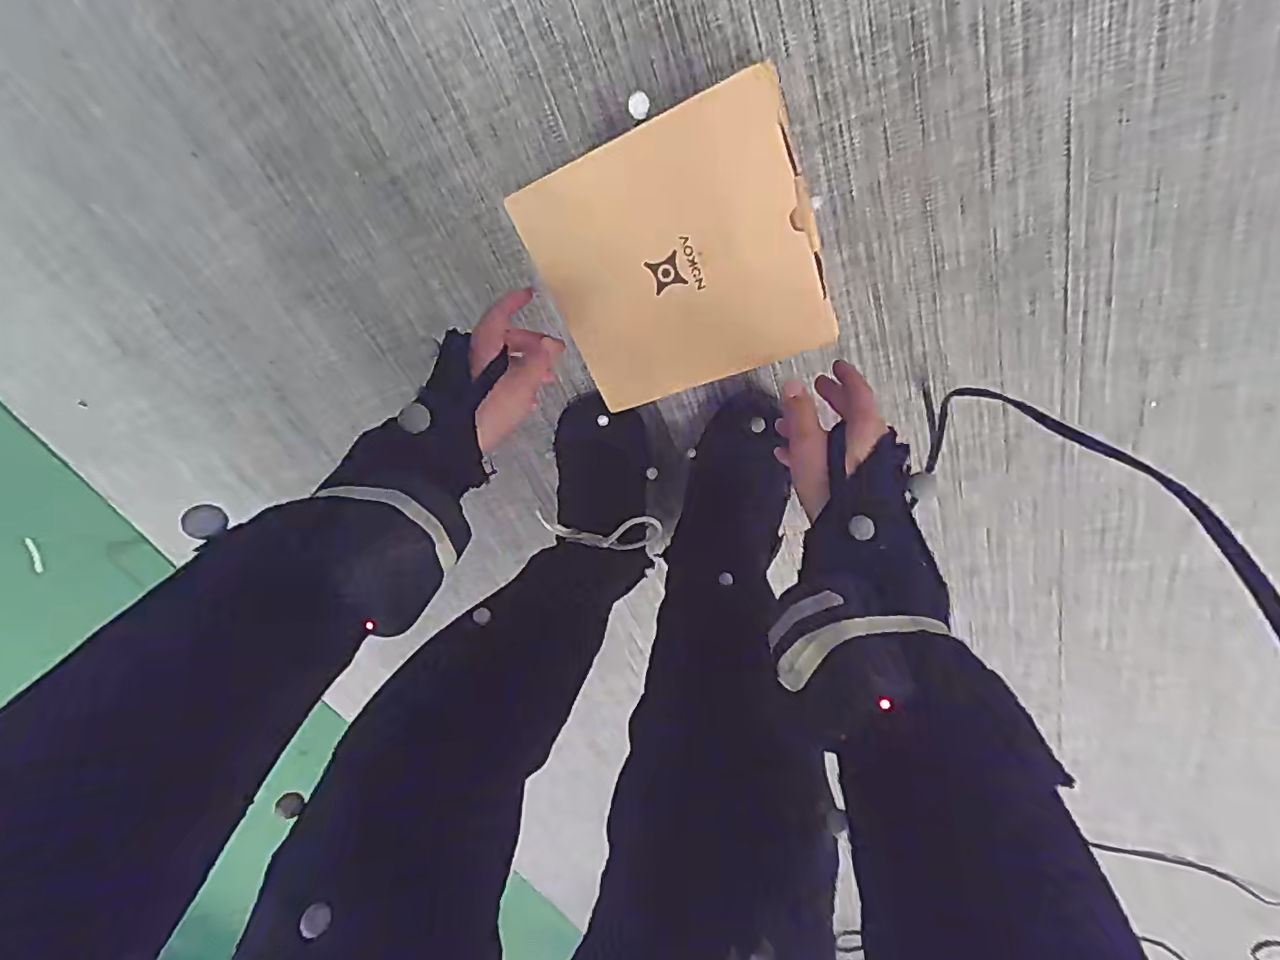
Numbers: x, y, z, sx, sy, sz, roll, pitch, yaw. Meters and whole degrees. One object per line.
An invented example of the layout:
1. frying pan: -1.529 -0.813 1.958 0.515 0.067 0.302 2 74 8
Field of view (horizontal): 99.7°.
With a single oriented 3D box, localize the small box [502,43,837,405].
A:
1. small box: 0.036 -0.184 0.407 0.179 0.176 0.168 -15 120 22
